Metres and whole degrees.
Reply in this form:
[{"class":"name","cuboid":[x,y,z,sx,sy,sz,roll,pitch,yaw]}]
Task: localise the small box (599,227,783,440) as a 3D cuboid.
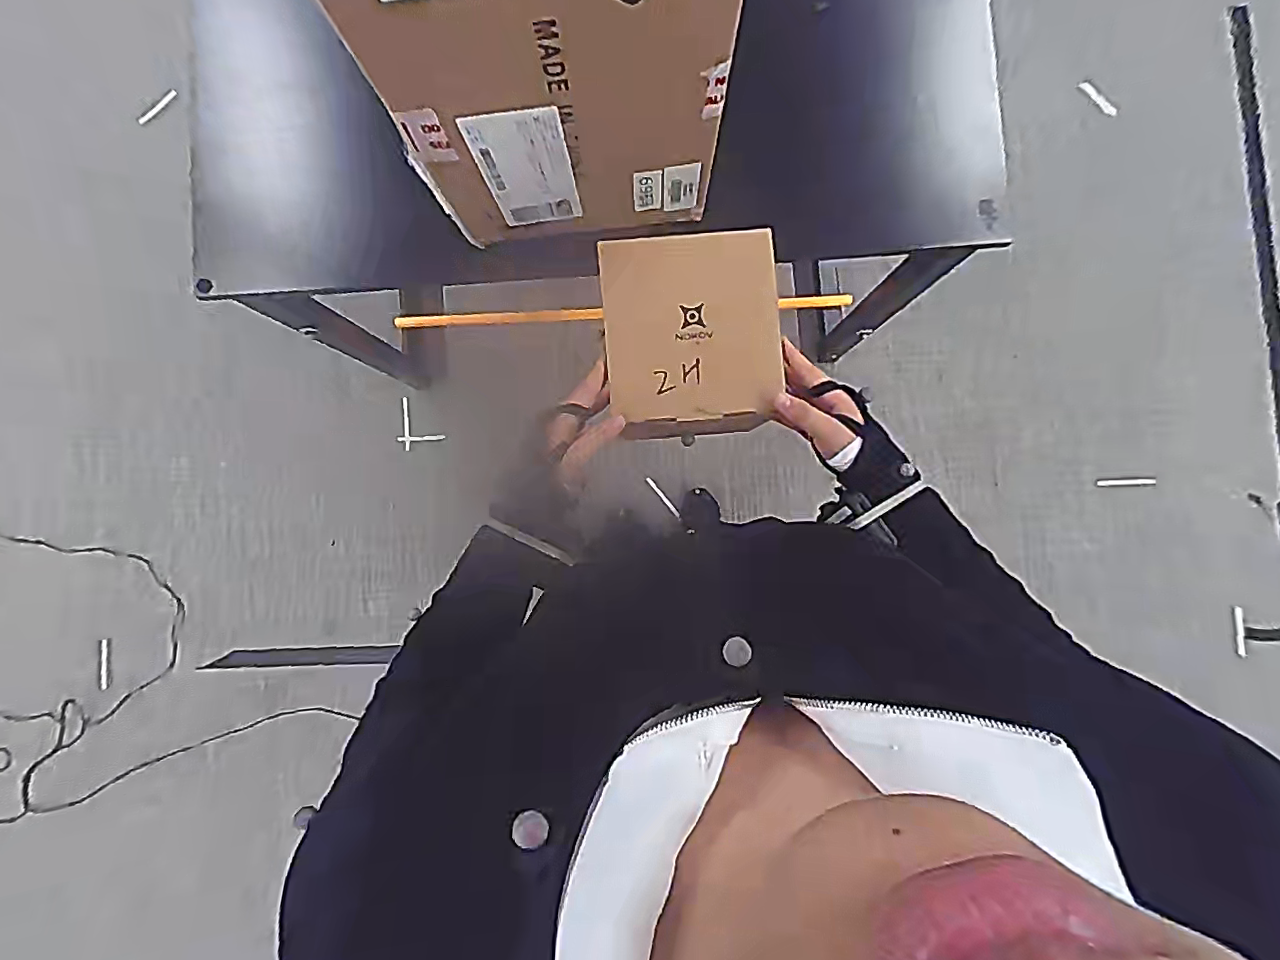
[{"class":"small box","cuboid":[0.046,-0.144,0.585,0.168,0.176,0.179,-4,88,0]}]
